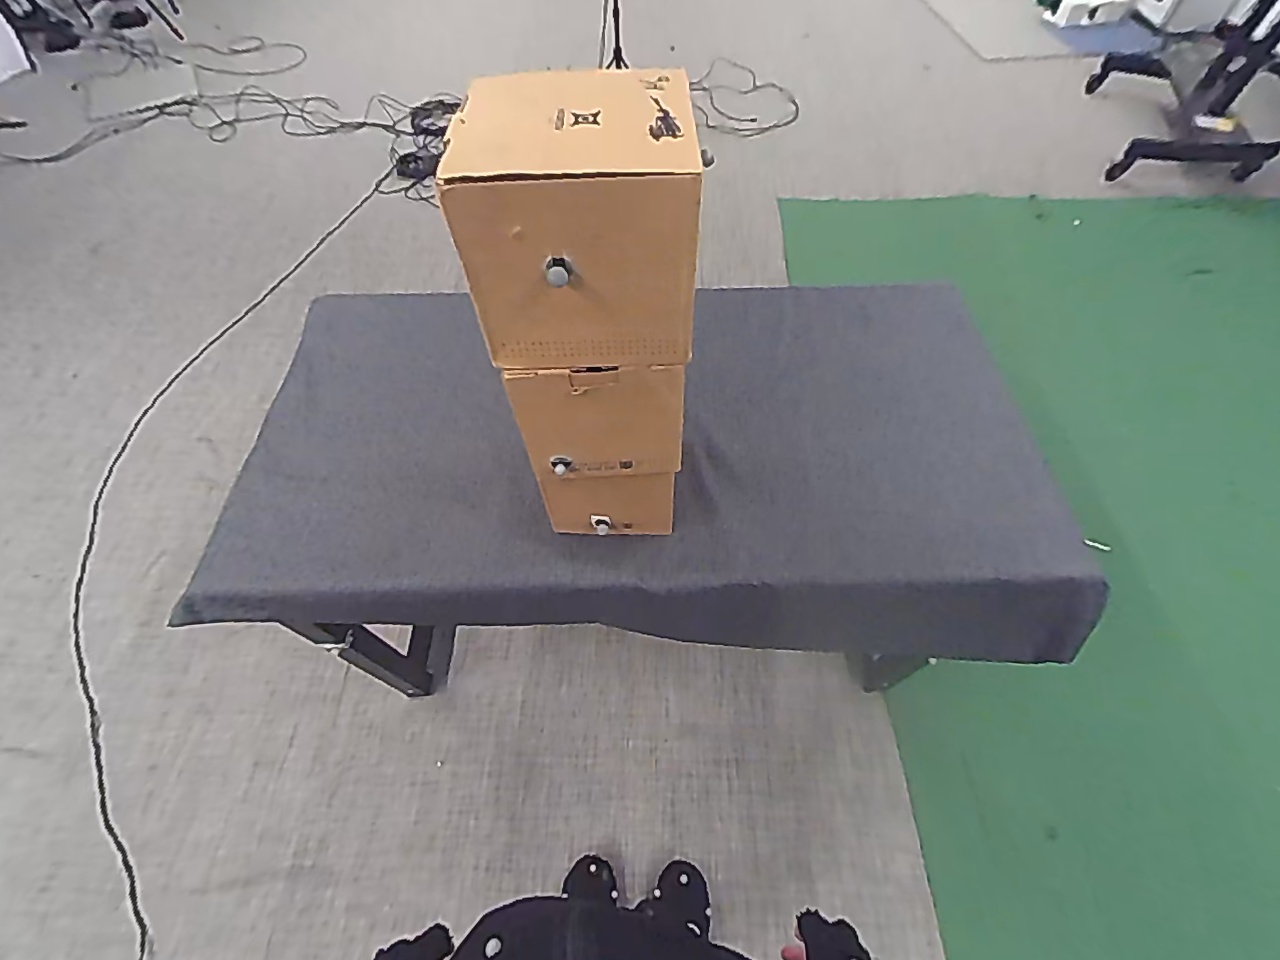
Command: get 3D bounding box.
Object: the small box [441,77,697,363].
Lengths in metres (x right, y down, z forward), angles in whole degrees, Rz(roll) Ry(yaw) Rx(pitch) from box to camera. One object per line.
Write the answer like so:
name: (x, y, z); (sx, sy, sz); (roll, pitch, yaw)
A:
small box: (-0.048, -0.218, 0.470); (0.179, 0.176, 0.168); (-4, 55, -1)

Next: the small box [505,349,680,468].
small box: (-0.046, -0.126, 0.603); (0.168, 0.176, 0.179); (-7, 57, -1)

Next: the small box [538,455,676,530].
small box: (-0.036, -0.047, 0.747); (0.168, 0.176, 0.179); (-1, 58, 2)
